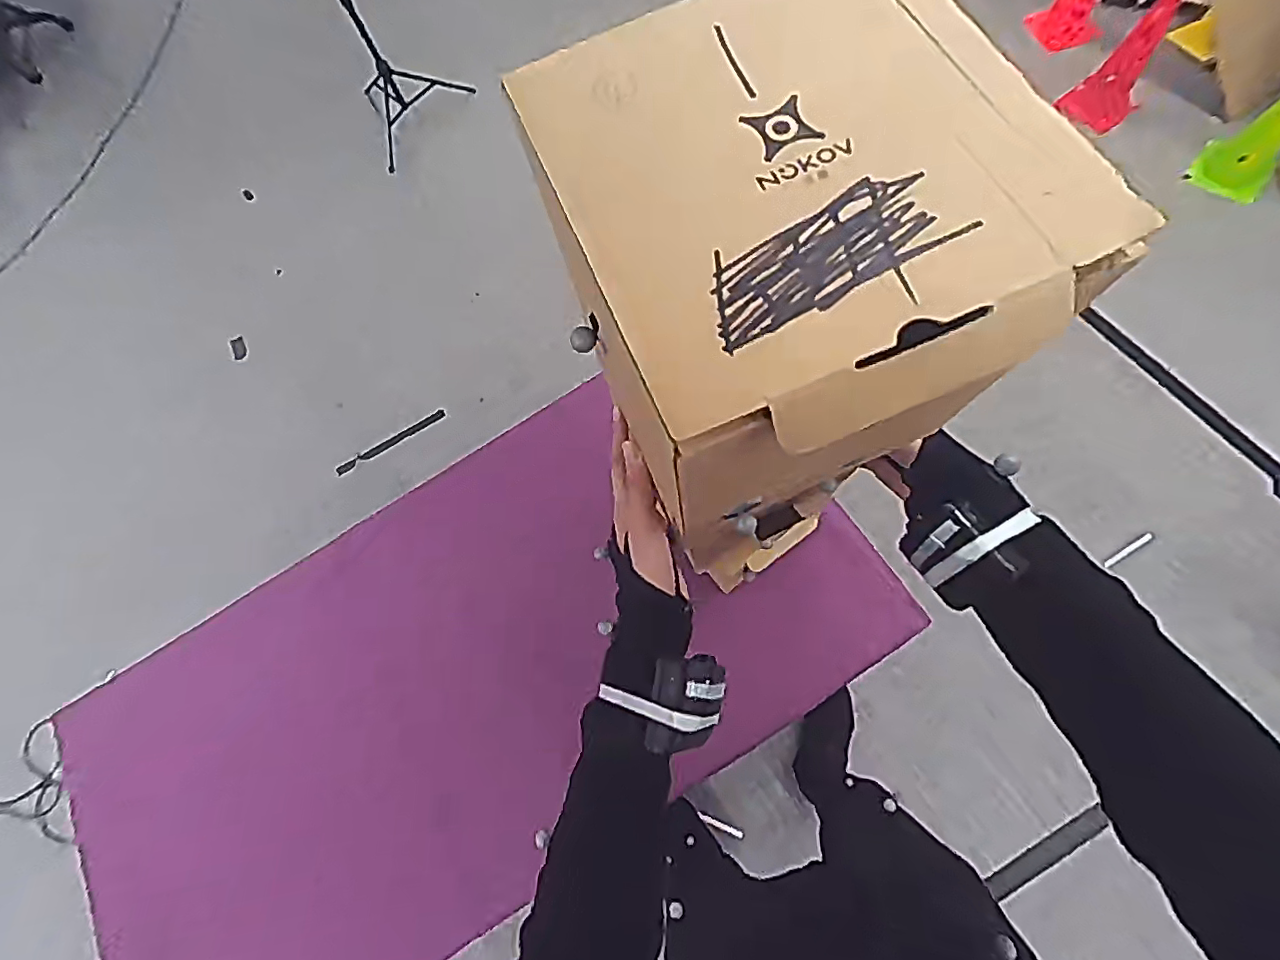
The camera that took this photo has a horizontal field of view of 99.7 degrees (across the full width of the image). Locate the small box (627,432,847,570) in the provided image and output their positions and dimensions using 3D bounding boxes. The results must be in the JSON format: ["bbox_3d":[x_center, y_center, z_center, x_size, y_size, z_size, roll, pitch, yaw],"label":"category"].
[{"bbox_3d":[0.091,-0.020,0.593,0.168,0.176,0.179,-27,71,-1],"label":"small box"}]

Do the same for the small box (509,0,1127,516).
[{"bbox_3d":[0.061,-0.094,0.274,0.168,0.176,0.179,-24,72,-2],"label":"small box"}]

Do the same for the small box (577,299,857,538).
[{"bbox_3d":[0.070,-0.063,0.435,0.168,0.176,0.179,-24,72,-1],"label":"small box"}]
